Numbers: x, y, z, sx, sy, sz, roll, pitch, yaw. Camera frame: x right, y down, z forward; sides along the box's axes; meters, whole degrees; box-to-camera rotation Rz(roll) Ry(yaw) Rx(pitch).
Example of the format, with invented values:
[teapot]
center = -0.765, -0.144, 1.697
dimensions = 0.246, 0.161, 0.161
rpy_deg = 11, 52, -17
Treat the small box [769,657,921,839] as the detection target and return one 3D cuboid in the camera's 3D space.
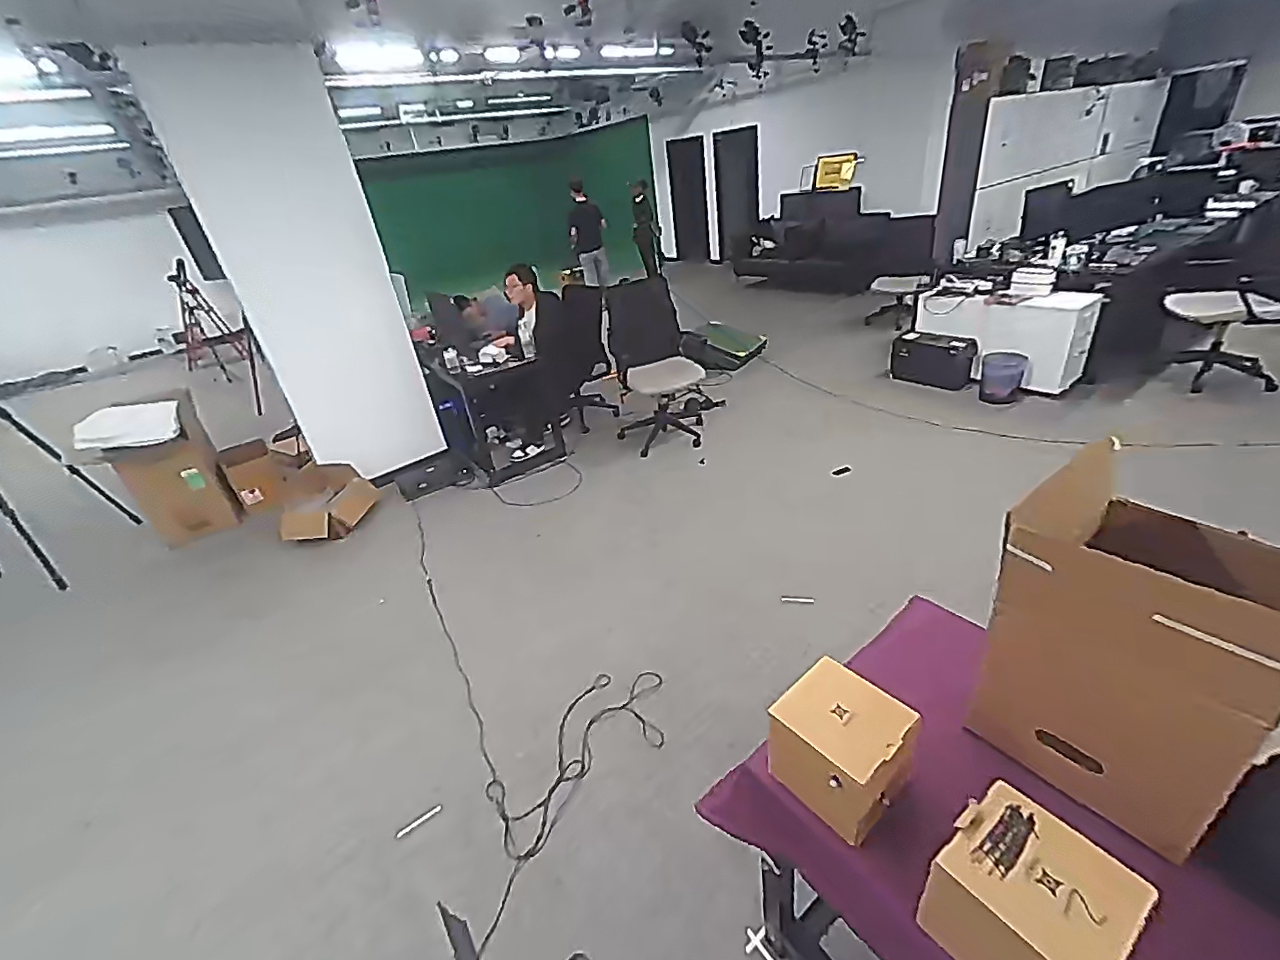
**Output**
[small box]
center = 0.332, 0.444, 0.905
dimensions = 0.168, 0.176, 0.179
rpy_deg = -27, 36, -30
